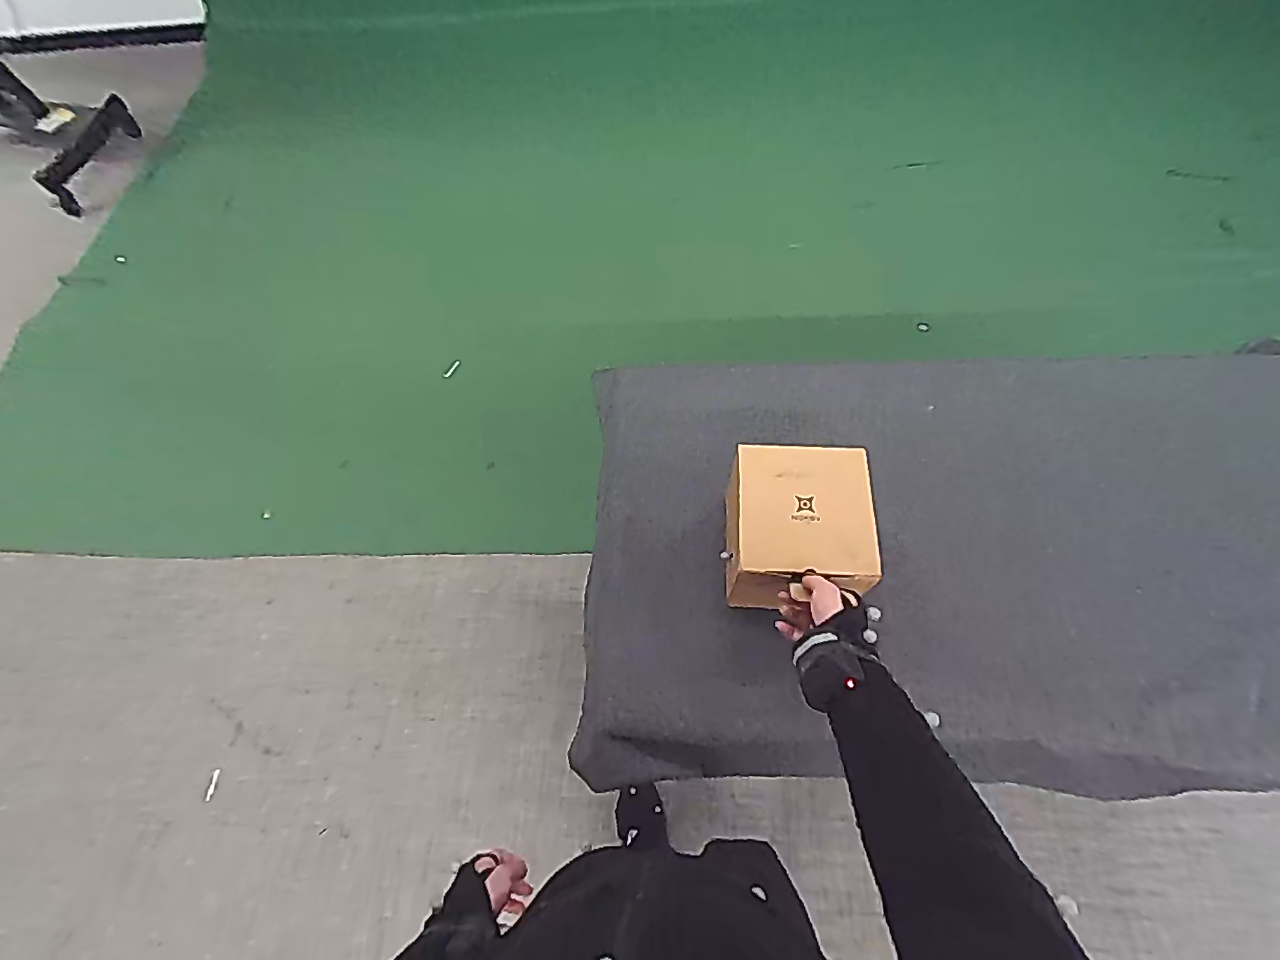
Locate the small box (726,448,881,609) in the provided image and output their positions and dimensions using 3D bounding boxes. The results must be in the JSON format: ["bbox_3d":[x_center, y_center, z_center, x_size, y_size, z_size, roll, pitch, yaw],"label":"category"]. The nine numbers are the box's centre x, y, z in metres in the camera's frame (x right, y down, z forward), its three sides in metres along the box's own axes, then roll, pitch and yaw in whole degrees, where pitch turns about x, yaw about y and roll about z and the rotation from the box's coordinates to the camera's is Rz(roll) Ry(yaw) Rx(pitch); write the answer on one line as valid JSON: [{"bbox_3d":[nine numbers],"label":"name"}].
[{"bbox_3d":[0.211,0.074,0.745,0.168,0.176,0.179,2,63,3],"label":"small box"}]
